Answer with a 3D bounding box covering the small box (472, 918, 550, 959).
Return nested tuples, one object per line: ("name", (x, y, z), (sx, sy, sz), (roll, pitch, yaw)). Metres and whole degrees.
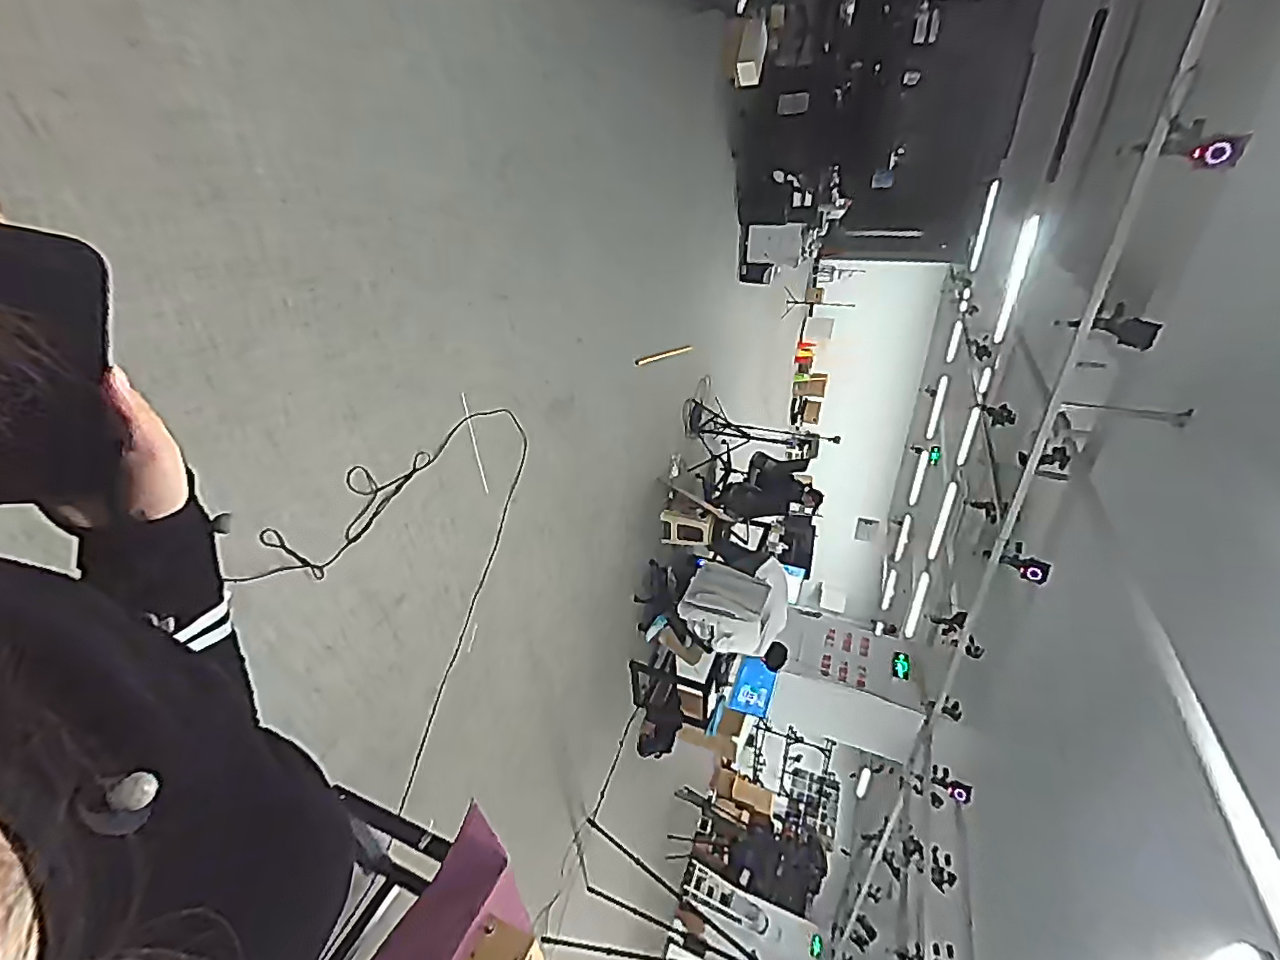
("small box", (-0.387, 1.430, 1.578), (0.168, 0.176, 0.179), (-51, 146, -49))
